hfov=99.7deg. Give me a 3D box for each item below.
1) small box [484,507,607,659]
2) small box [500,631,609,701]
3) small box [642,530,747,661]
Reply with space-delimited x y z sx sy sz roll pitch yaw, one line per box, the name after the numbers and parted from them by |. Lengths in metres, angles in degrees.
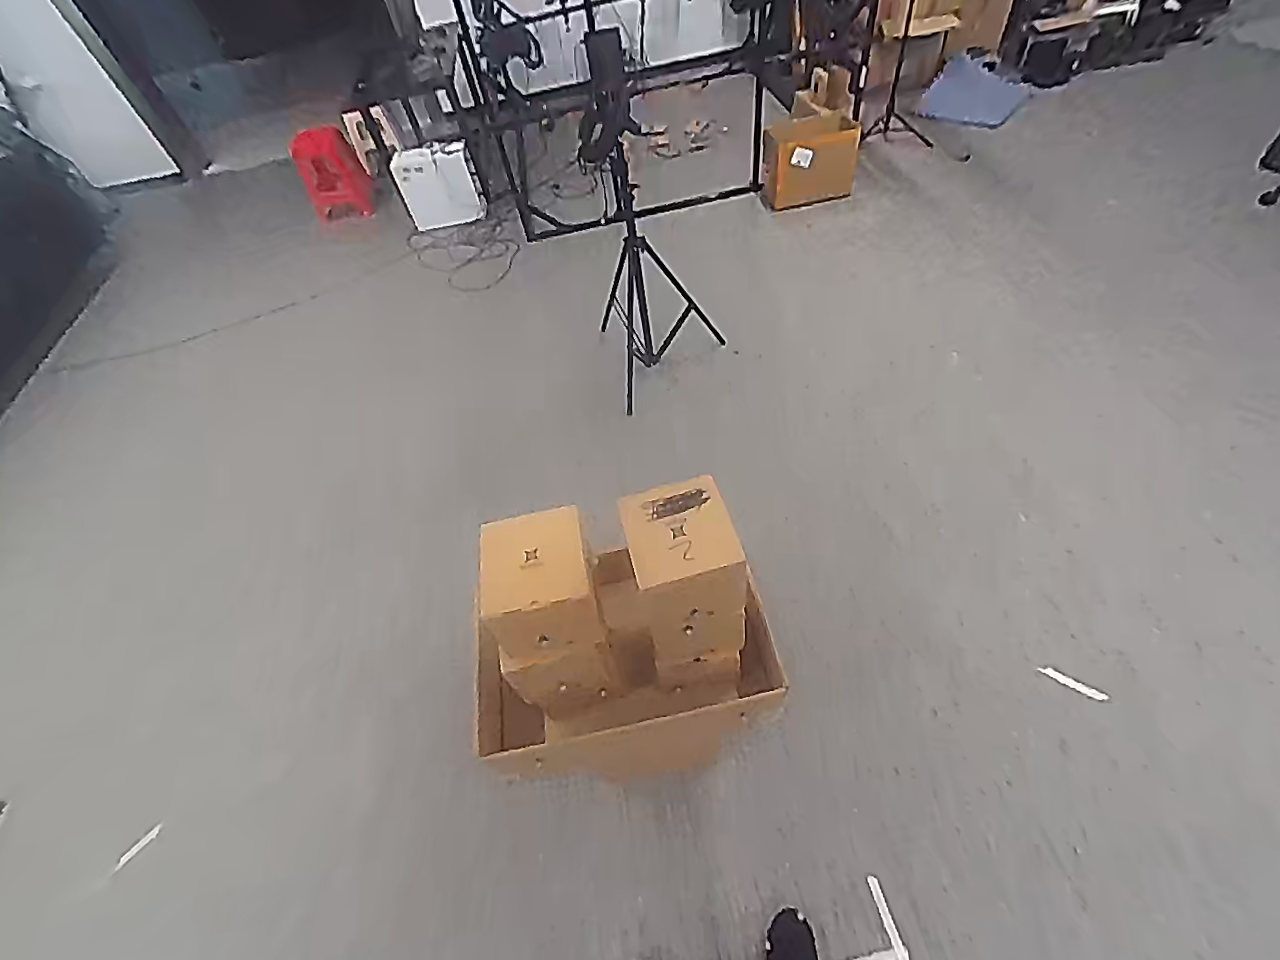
-0.157 0.175 0.911 0.168 0.176 0.179 -13 51 -3 | small box
-0.163 0.292 1.028 0.168 0.176 0.179 -15 52 -4 | small box
0.101 0.222 1.031 0.168 0.176 0.179 -10 51 2 | small box
